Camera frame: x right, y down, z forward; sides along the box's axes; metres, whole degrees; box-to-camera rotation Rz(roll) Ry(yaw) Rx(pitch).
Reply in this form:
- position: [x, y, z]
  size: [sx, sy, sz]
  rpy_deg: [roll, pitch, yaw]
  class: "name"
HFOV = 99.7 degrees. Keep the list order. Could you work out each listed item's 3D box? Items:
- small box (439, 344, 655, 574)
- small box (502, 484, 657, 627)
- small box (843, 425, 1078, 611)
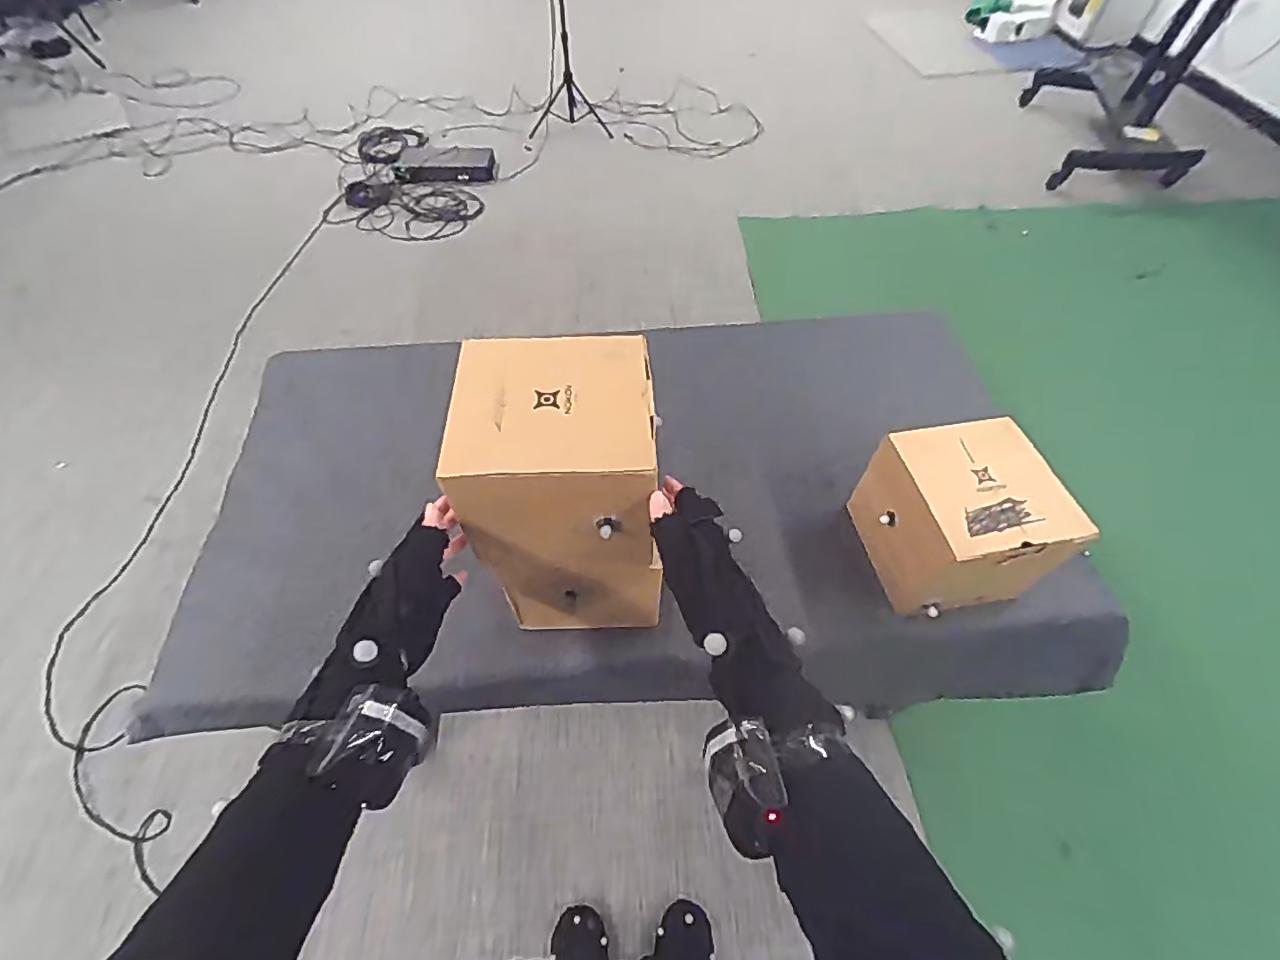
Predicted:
- position: [-0.079, -0.017, 0.546]
  size: [0.179, 0.176, 0.168]
  rpy_deg: [-3, 53, -1]
  class: "small box"
- position: [-0.069, 0.078, 0.678]
  size: [0.179, 0.176, 0.168]
  rpy_deg: [-1, 54, -1]
  class: "small box"
- position: [0.389, 0.056, 0.696]
  size: [0.168, 0.176, 0.179]
  rpy_deg: [-7, 54, -5]
  class: "small box"
